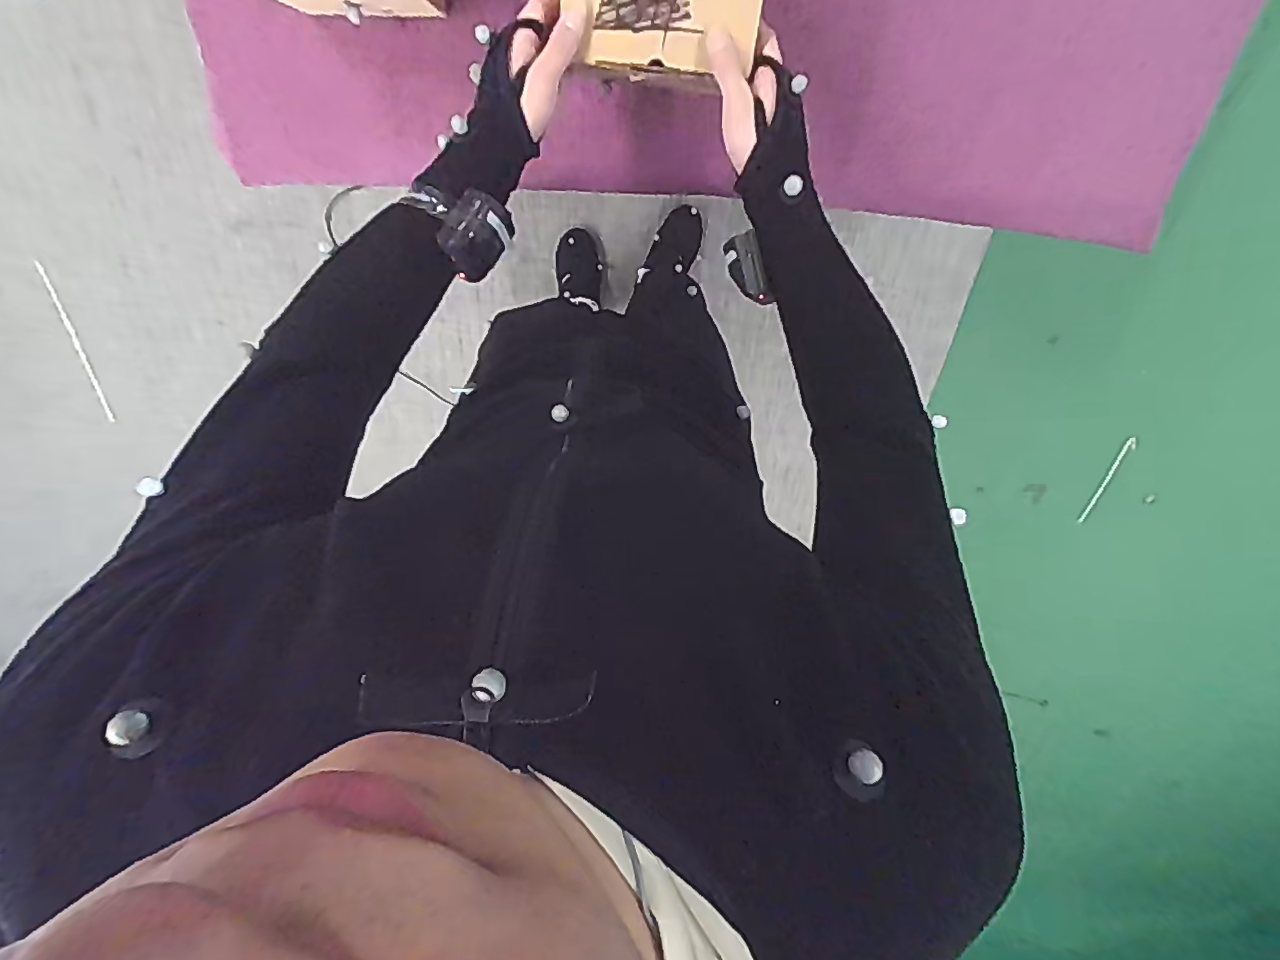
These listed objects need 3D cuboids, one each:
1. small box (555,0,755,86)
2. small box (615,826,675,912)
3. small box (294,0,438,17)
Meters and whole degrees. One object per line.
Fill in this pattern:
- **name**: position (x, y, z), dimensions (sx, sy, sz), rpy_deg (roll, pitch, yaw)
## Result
- **small box**: position (0.018, -0.470, 0.482), dimensions (0.168, 0.176, 0.179), rpy_deg (4, 122, -3)
- **small box**: position (0.017, 1.231, 1.720), dimensions (0.179, 0.176, 0.168), rpy_deg (4, 120, 0)
- **small box**: position (-0.308, -0.572, 0.508), dimensions (0.168, 0.176, 0.179), rpy_deg (2, 120, 0)
